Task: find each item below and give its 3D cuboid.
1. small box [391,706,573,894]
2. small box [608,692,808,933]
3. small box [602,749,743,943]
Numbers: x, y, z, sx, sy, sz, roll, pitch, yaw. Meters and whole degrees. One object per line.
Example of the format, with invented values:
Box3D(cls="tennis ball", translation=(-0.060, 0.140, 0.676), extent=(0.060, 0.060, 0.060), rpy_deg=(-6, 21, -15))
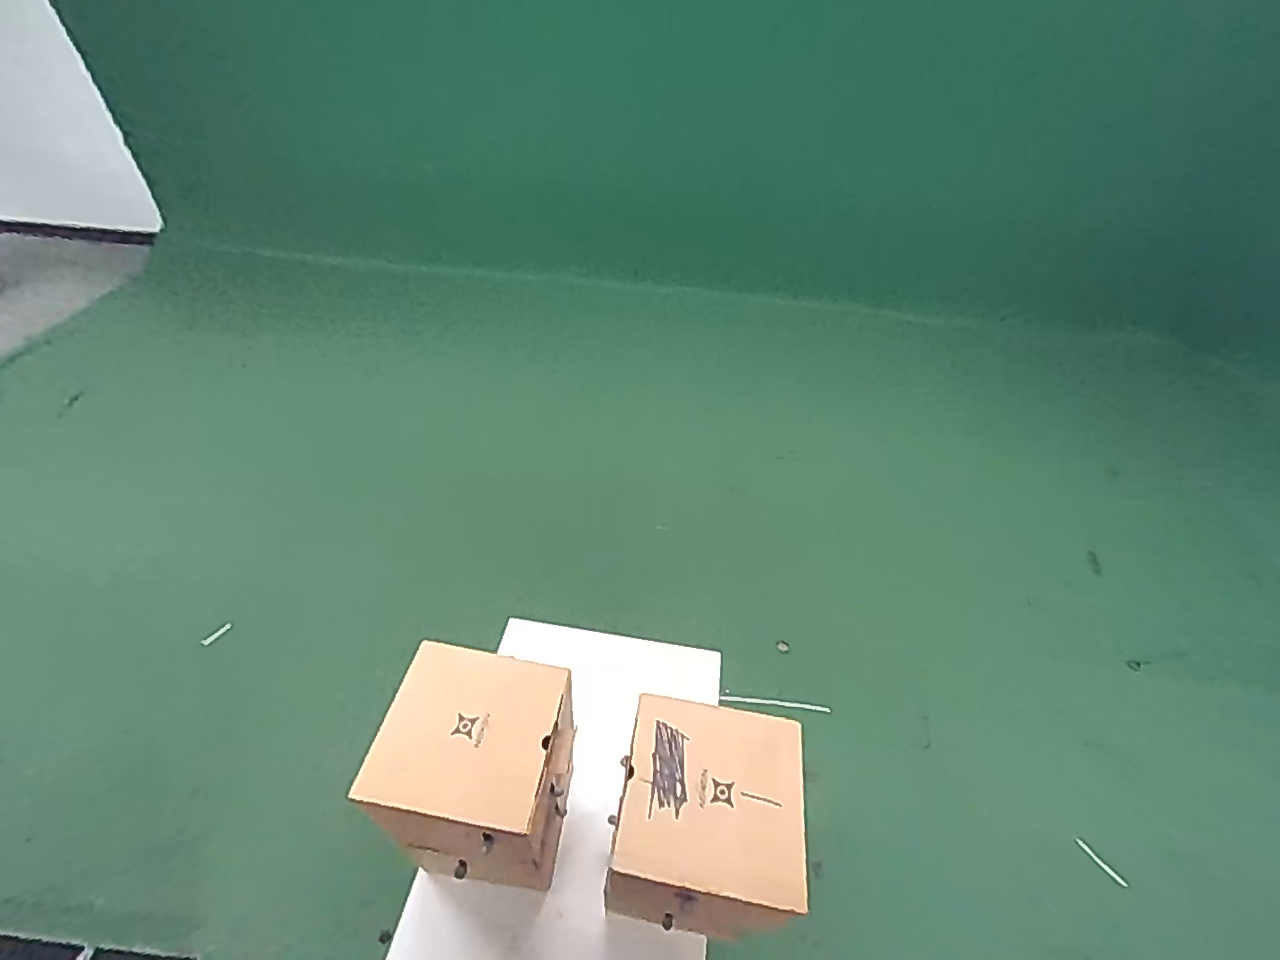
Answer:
Box3D(cls="small box", translation=(-0.191, 0.425, 0.715), extent=(0.179, 0.176, 0.168), rpy_deg=(7, 45, 2))
Box3D(cls="small box", translation=(0.068, 0.352, 0.572), extent=(0.179, 0.176, 0.168), rpy_deg=(10, 46, 5))
Box3D(cls="small box", translation=(0.055, 0.465, 0.691), extent=(0.179, 0.176, 0.168), rpy_deg=(9, 46, 5))
